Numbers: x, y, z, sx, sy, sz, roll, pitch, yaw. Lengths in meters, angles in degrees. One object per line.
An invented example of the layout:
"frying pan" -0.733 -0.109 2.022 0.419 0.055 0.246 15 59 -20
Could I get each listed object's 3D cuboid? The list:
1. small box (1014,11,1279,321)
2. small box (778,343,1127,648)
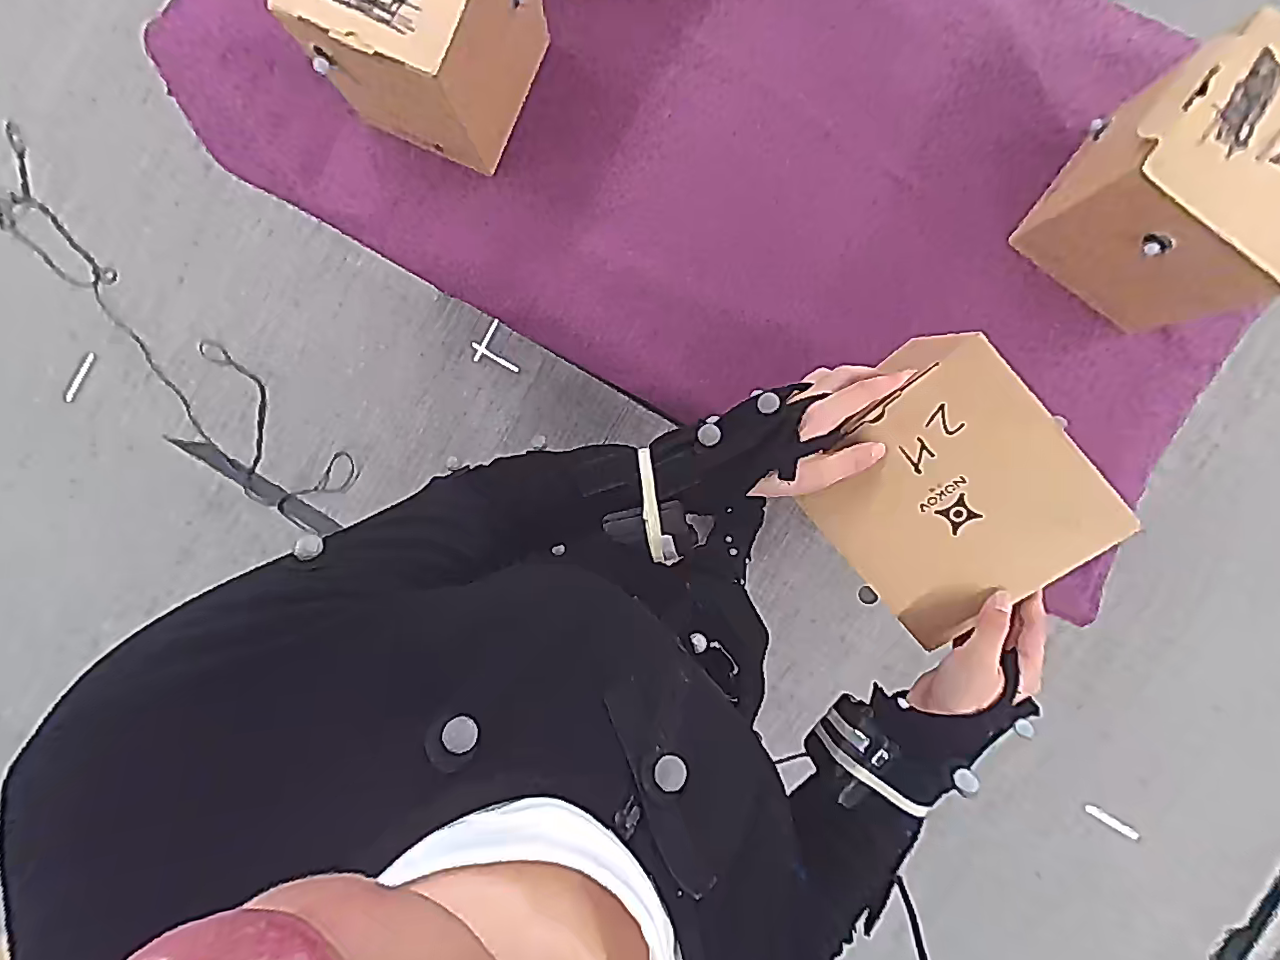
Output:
"small box" 0.531 -0.283 0.537 0.179 0.176 0.168 36 94 -2
"small box" 0.237 0.000 0.465 0.168 0.176 0.179 -40 92 18
